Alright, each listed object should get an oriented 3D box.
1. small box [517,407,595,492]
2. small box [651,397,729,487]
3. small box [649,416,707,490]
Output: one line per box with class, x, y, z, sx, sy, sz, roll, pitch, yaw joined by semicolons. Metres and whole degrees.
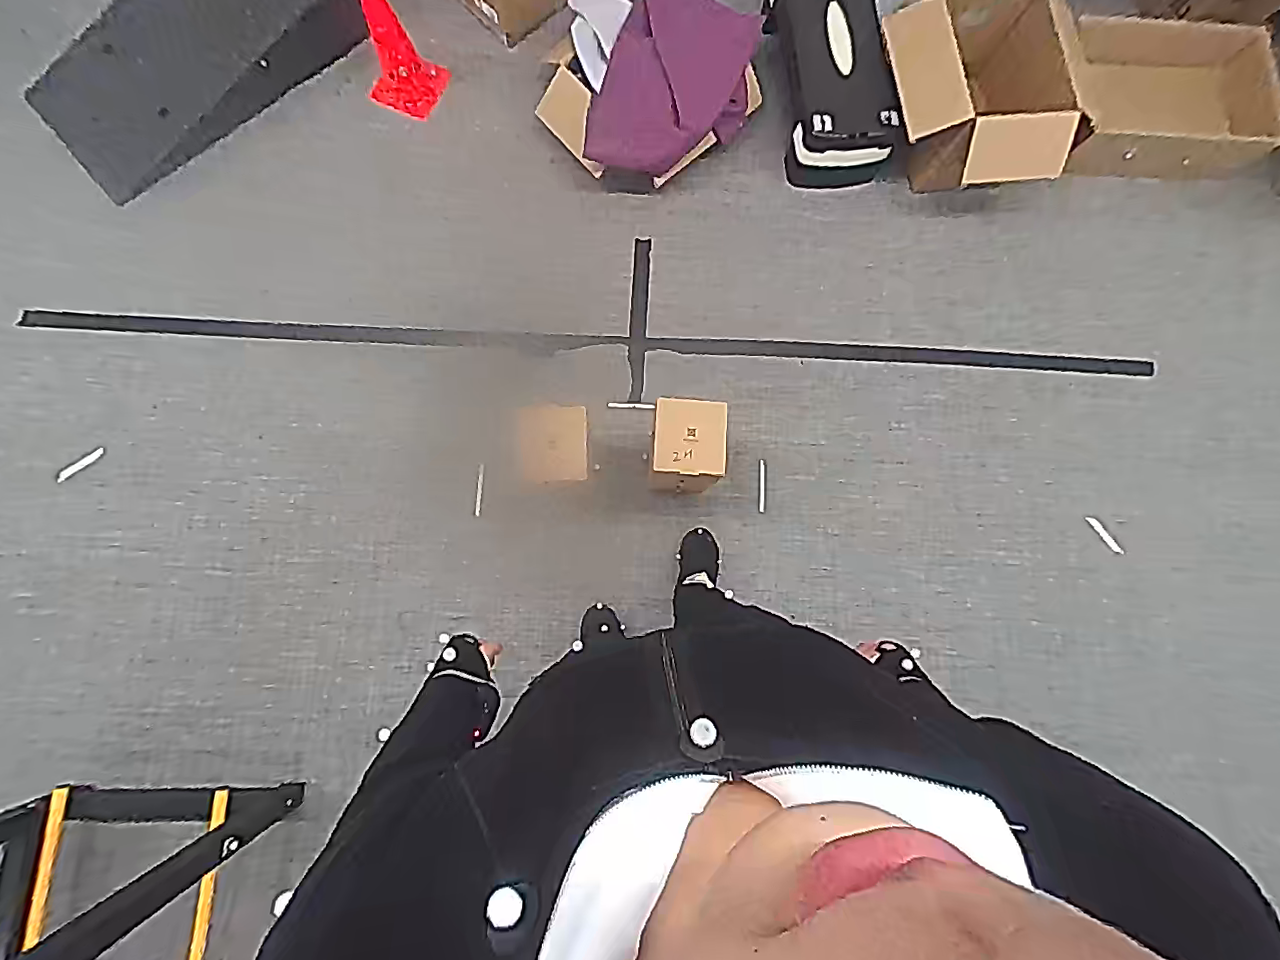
small box;-0.198;-0.068;1.299;0.168;0.176;0.179;-2;82;-1
small box;0.115;-0.087;1.313;0.168;0.176;0.179;4;81;-2
small box;0.112;-0.067;1.478;0.168;0.176;0.179;2;81;-2
